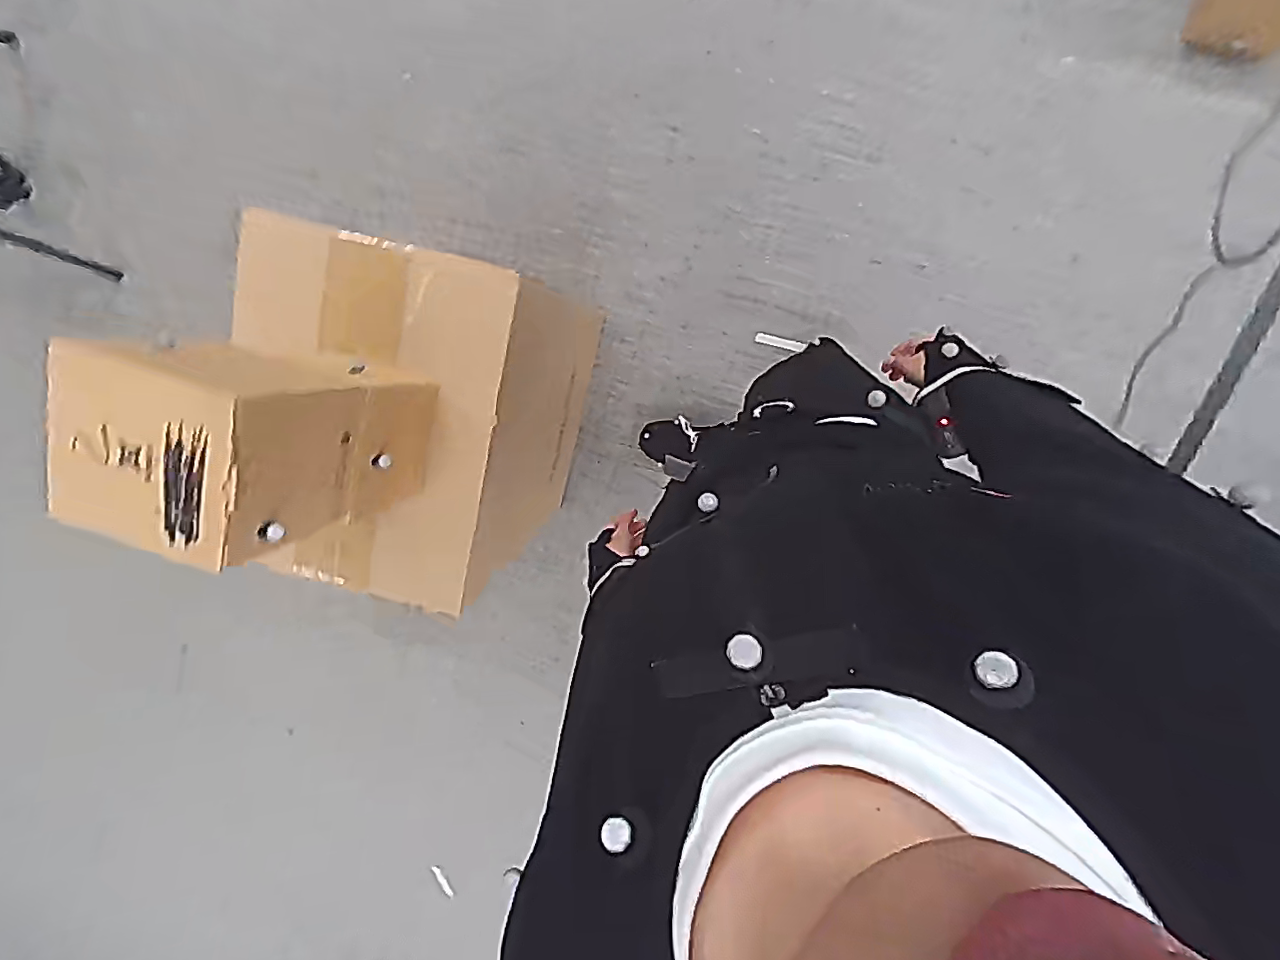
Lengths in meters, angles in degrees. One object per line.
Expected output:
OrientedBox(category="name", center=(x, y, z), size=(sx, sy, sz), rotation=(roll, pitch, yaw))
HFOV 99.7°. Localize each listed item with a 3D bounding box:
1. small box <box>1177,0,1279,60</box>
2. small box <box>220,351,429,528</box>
OrientedBox(category="small box", center=(1.143, -0.909, 0.969), size=(0.168, 0.176, 0.179), rotation=(16, 105, 3))
OrientedBox(category="small box", center=(-0.394, -0.062, 0.700), size=(0.168, 0.176, 0.179), rotation=(15, 105, 3))
